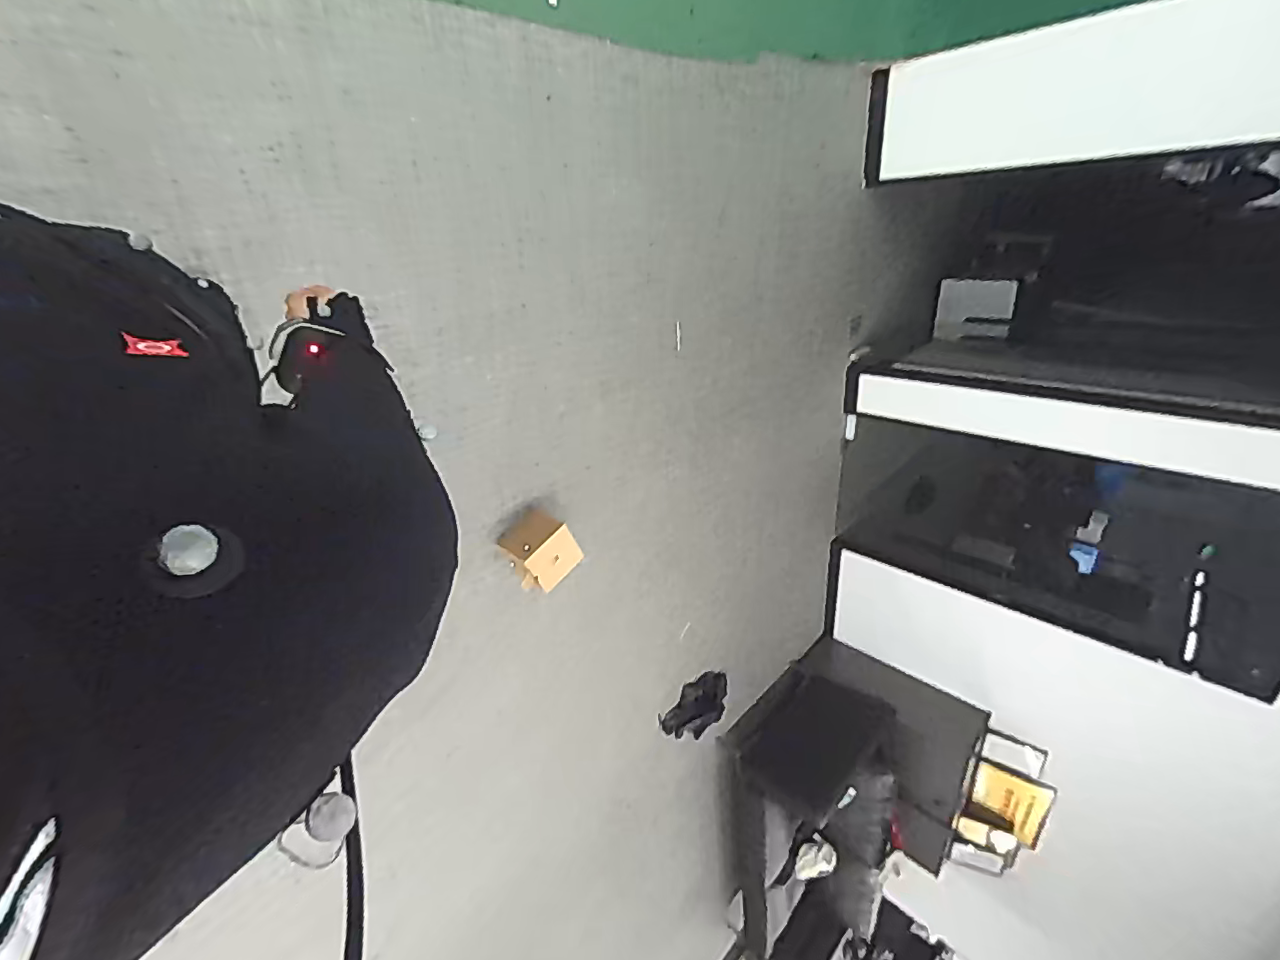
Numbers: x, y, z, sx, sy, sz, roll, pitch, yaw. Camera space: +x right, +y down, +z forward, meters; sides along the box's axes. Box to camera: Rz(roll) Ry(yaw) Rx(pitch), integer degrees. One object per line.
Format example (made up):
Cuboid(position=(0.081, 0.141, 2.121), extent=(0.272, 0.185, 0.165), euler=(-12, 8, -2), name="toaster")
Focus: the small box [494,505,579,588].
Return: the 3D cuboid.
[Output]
Cuboid(position=(-0.335, 0.208, 1.746), extent=(0.179, 0.176, 0.168), euler=(-45, 134, -24), name="small box")
